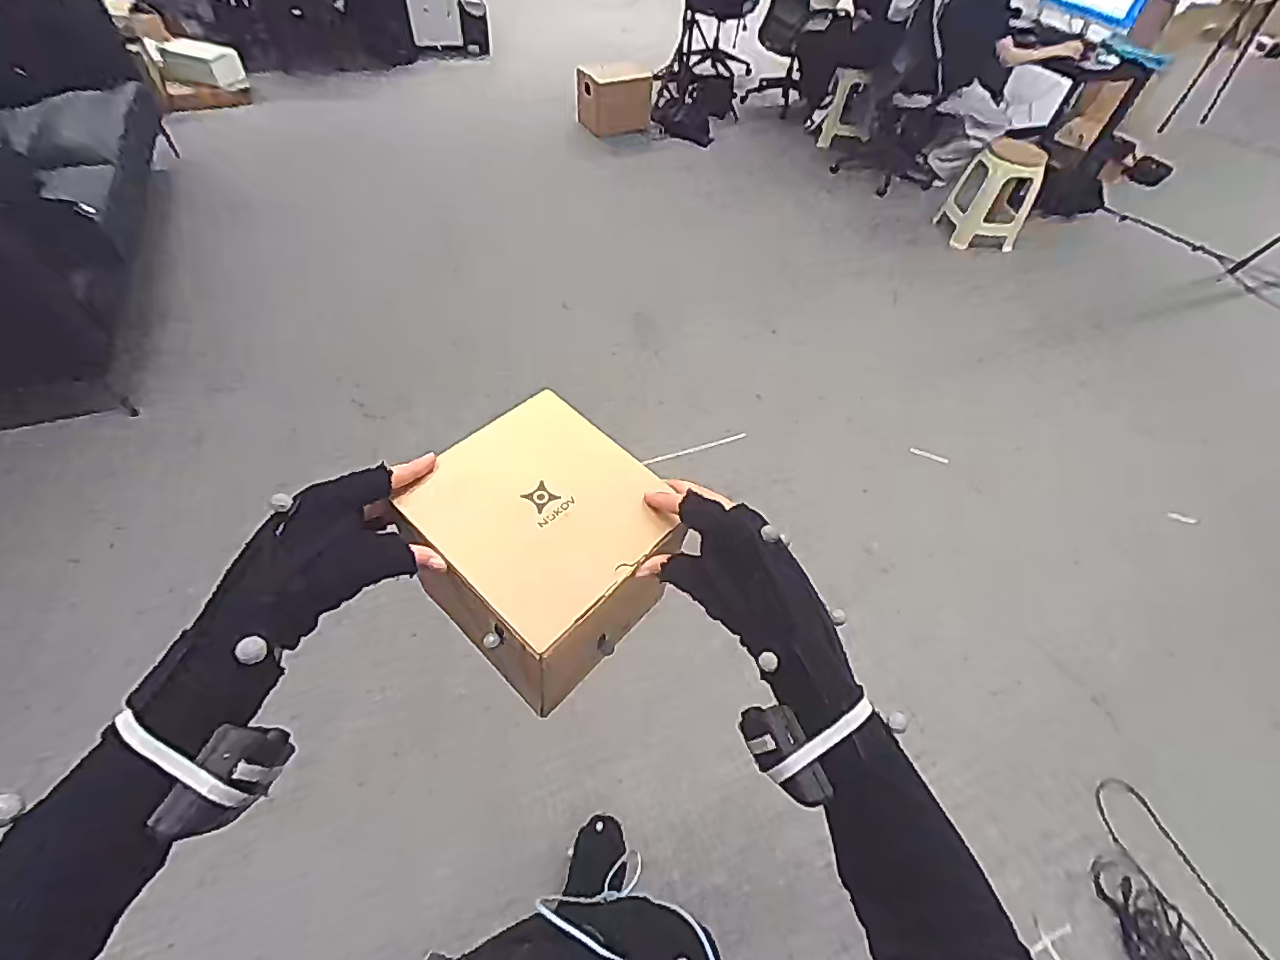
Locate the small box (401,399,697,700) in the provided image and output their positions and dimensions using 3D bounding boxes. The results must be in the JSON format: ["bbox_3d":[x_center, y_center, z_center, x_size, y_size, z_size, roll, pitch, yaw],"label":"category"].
[{"bbox_3d":[-0.081,0.066,0.489,0.179,0.176,0.168,39,58,18],"label":"small box"}]
